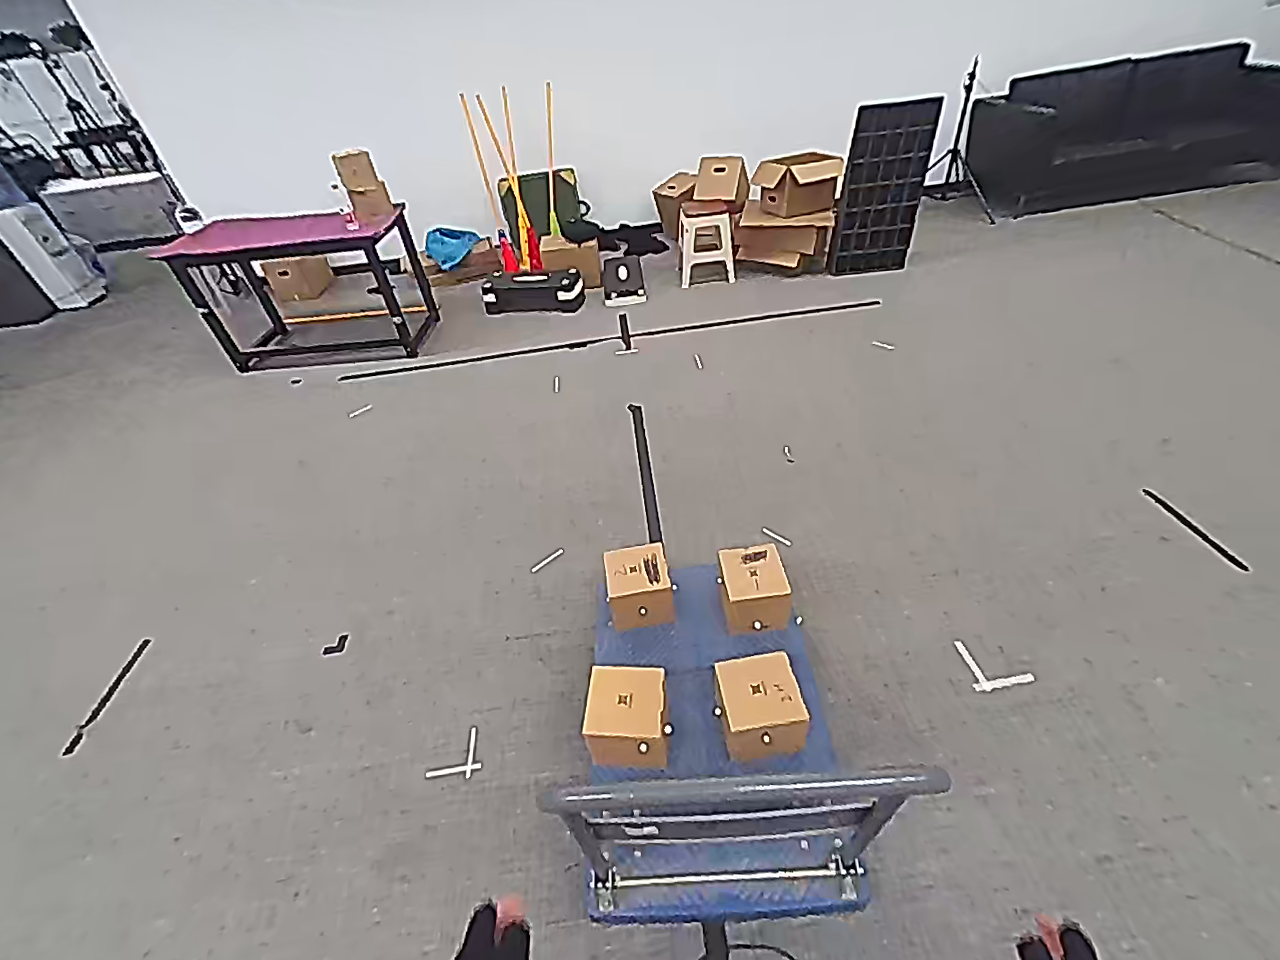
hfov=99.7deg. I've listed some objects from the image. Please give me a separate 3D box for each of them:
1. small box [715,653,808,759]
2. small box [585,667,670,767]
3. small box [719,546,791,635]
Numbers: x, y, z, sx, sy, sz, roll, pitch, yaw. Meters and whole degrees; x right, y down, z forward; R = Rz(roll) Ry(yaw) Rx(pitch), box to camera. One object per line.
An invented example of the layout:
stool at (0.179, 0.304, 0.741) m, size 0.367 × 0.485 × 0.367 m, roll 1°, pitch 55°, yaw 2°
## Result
small box at (0.281, 0.538, 1.280) m, size 0.179 × 0.176 × 0.168 m, roll -9°, pitch 41°, yaw -1°
small box at (-0.023, 0.569, 1.293) m, size 0.179 × 0.176 × 0.168 m, roll 0°, pitch 41°, yaw 6°
small box at (0.318, 0.312, 1.529) m, size 0.168 × 0.176 × 0.179 m, roll -8°, pitch 42°, yaw 1°
